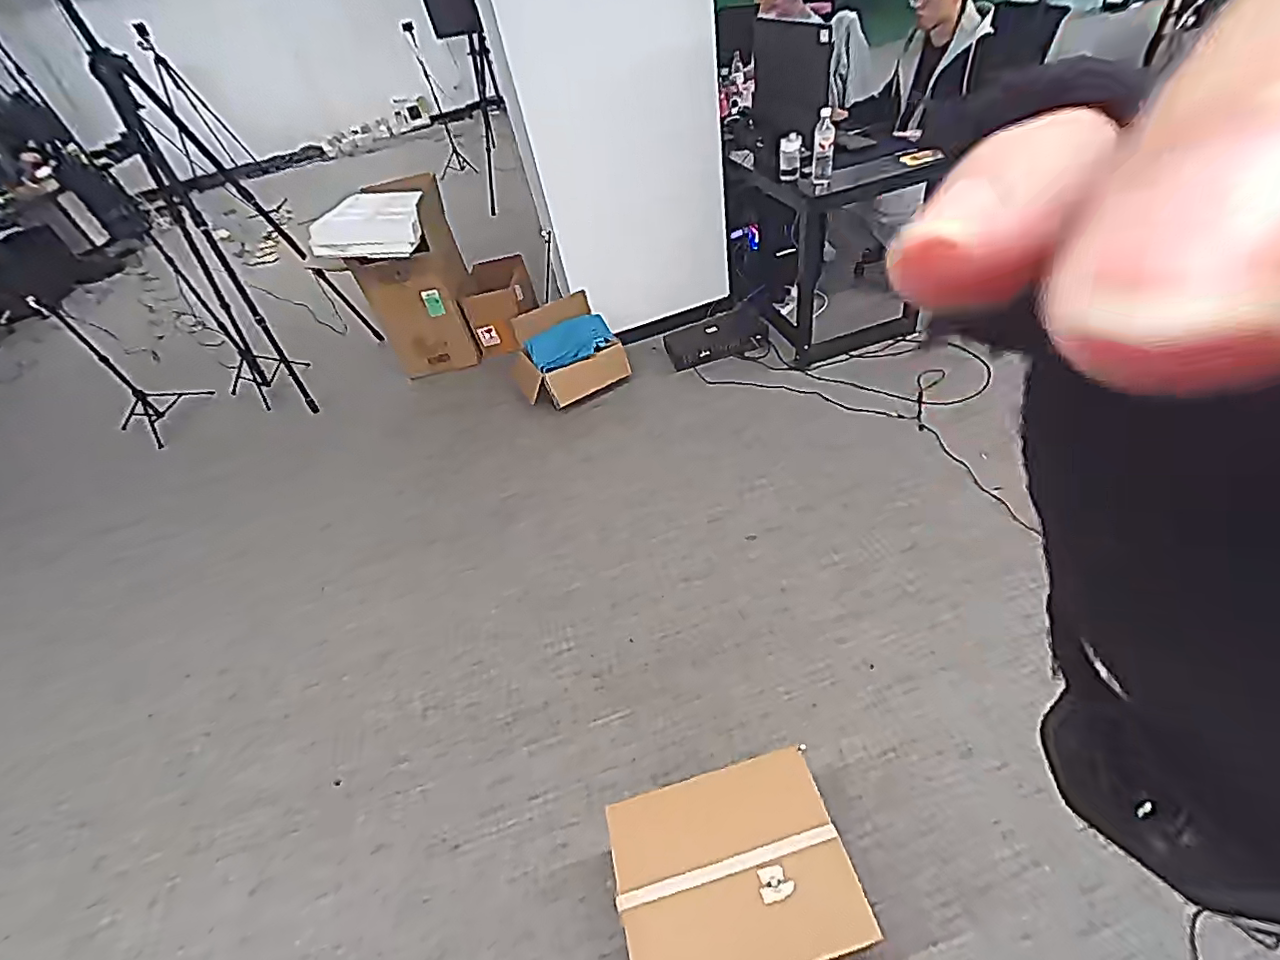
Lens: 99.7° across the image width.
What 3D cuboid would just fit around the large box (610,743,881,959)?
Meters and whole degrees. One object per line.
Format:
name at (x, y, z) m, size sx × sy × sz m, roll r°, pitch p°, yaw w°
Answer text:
large box at (0.189, 0.789, 1.064) m, size 0.408 × 0.320 × 0.320 m, roll -16°, pitch 44°, yaw -4°
